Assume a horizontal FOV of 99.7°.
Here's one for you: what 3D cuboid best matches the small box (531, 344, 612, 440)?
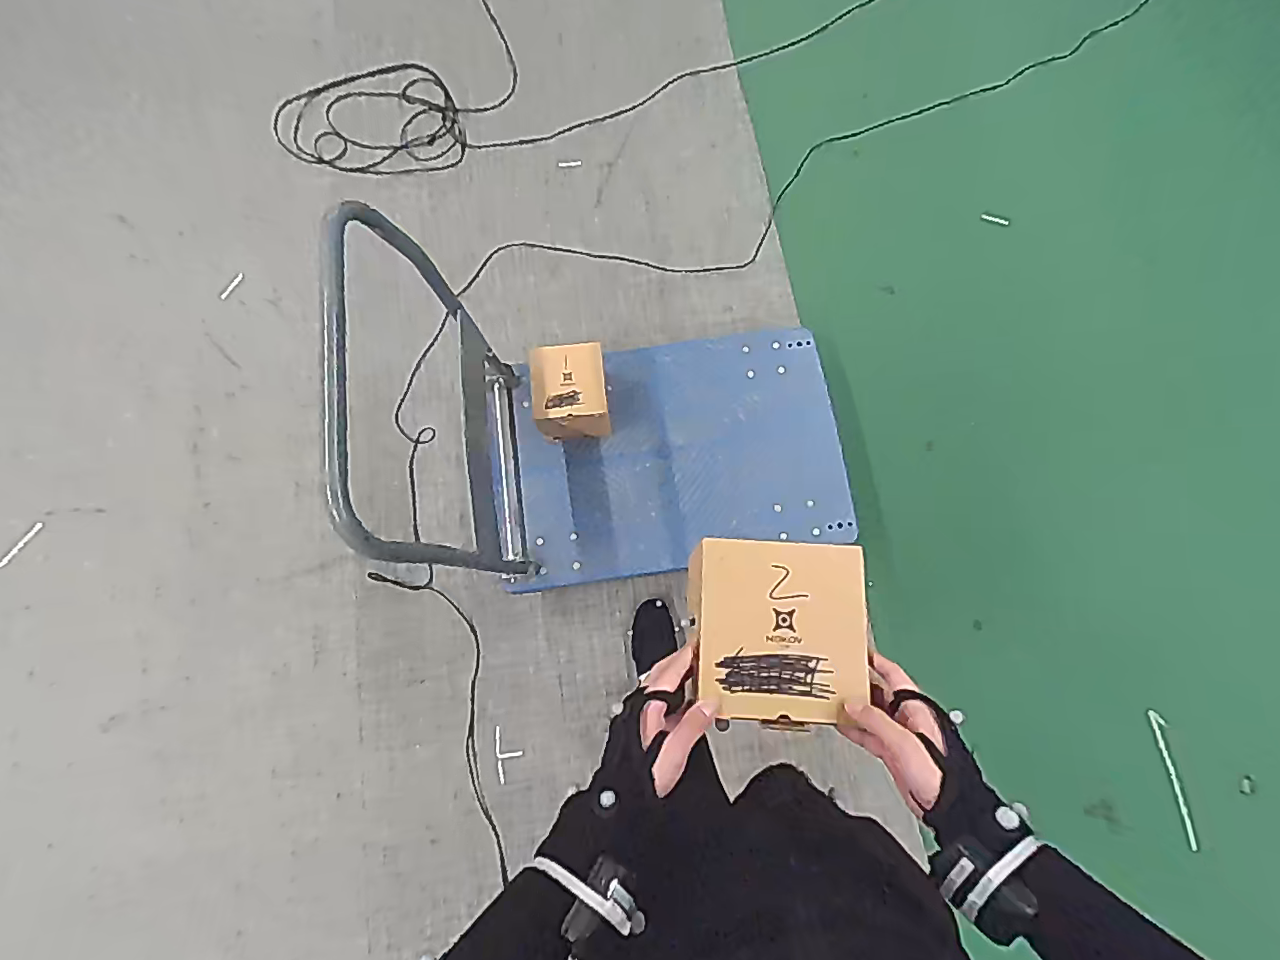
[{"bbox_3d":[-0.157,-0.198,1.275,0.168,0.176,0.179,-5,76,-2],"label":"small box"}]
